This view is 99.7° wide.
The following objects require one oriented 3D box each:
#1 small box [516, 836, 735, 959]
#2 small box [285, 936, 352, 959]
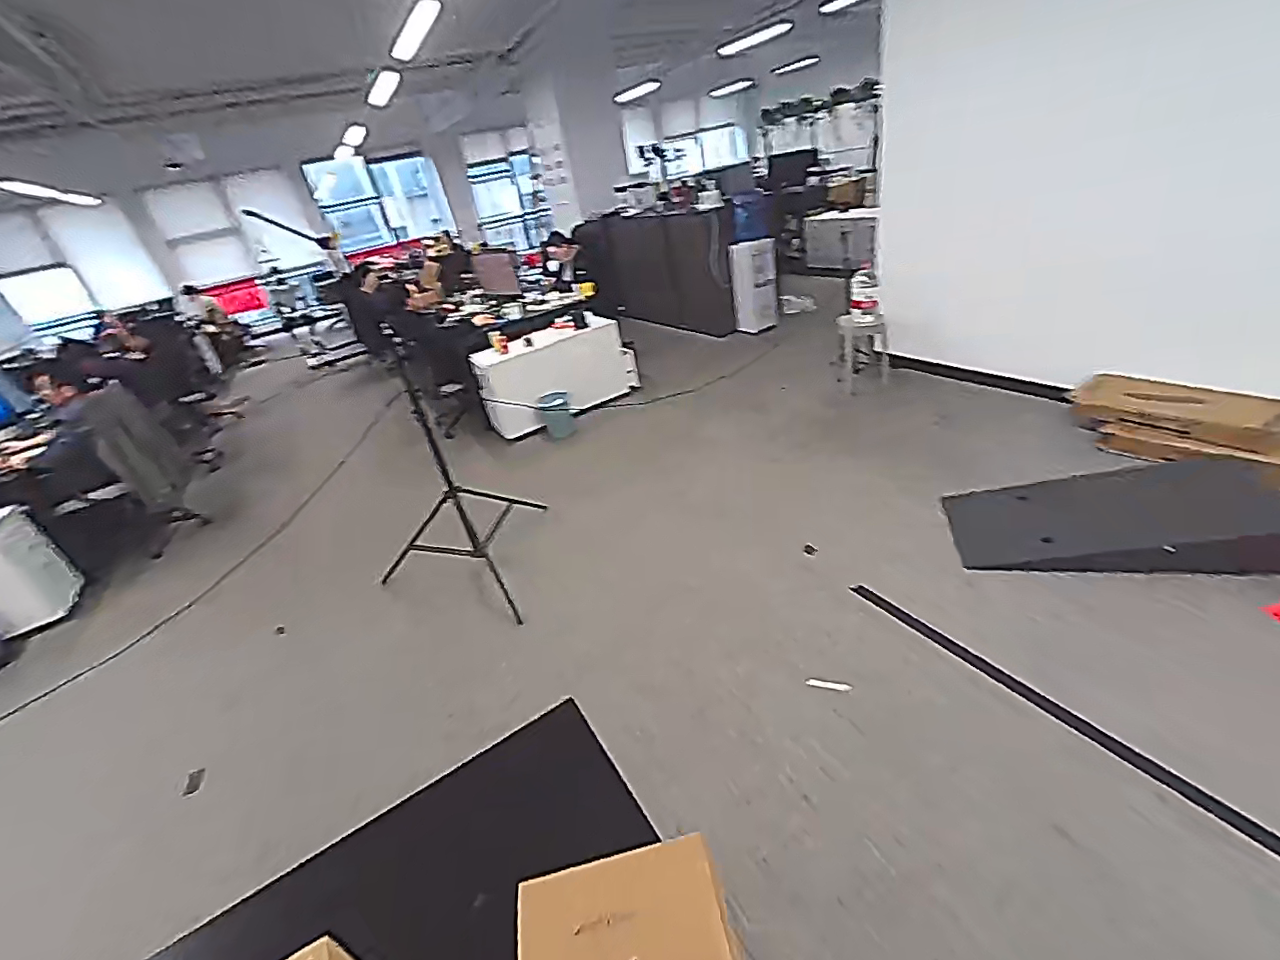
[{"bbox_3d":[0.002,0.442,0.455,0.168,0.176,0.179,-15,38,-1],"label":"small box"},{"bbox_3d":[-0.366,0.636,0.546,0.179,0.176,0.168,-25,32,-20],"label":"small box"}]
